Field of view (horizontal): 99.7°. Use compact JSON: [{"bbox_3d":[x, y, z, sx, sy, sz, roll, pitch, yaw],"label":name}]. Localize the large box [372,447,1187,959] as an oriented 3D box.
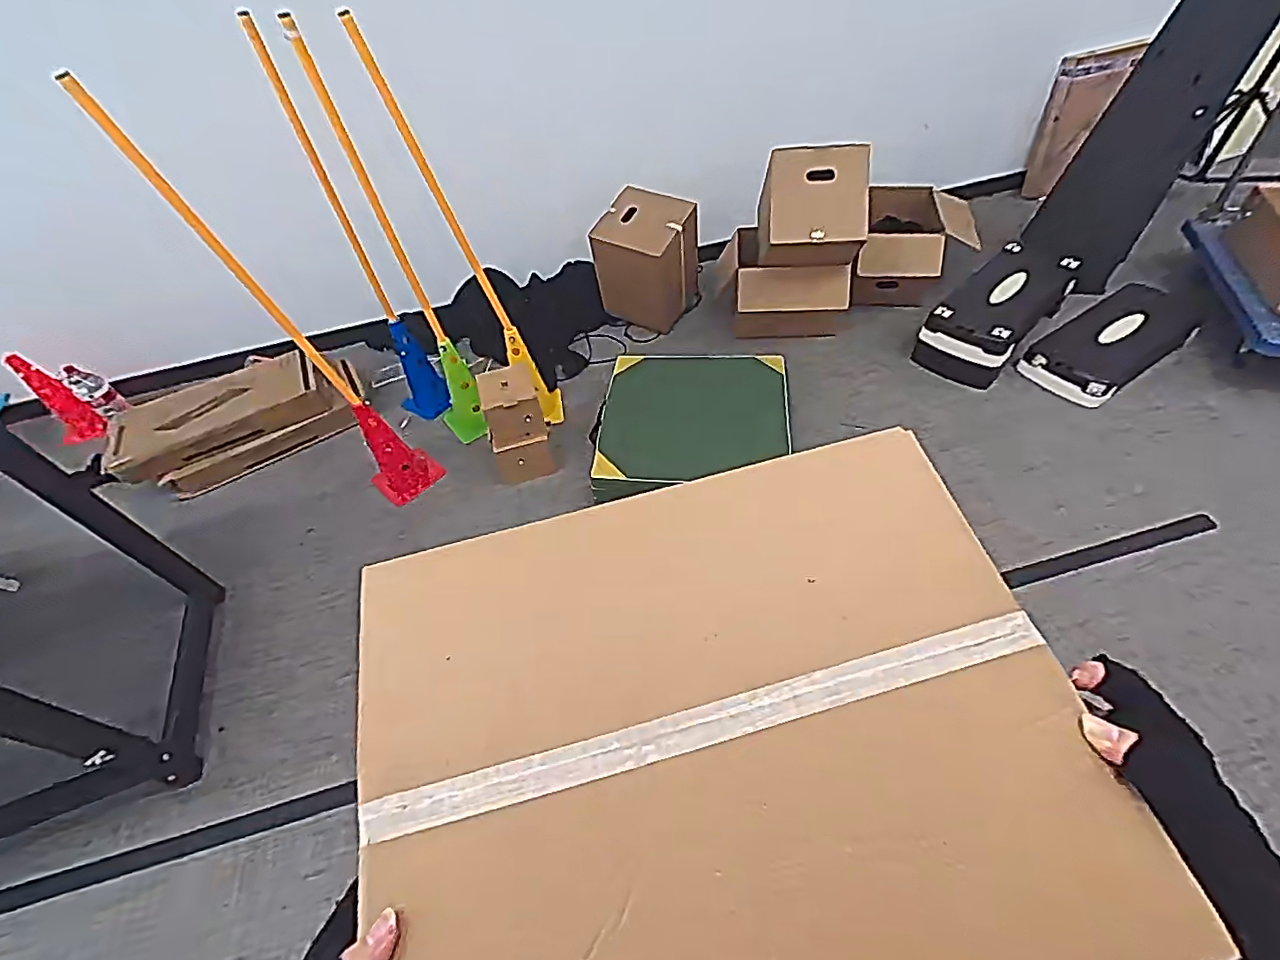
[{"bbox_3d":[0.053,0.225,0.450,0.408,0.320,0.320,-15,59,-3],"label":"large box"}]
